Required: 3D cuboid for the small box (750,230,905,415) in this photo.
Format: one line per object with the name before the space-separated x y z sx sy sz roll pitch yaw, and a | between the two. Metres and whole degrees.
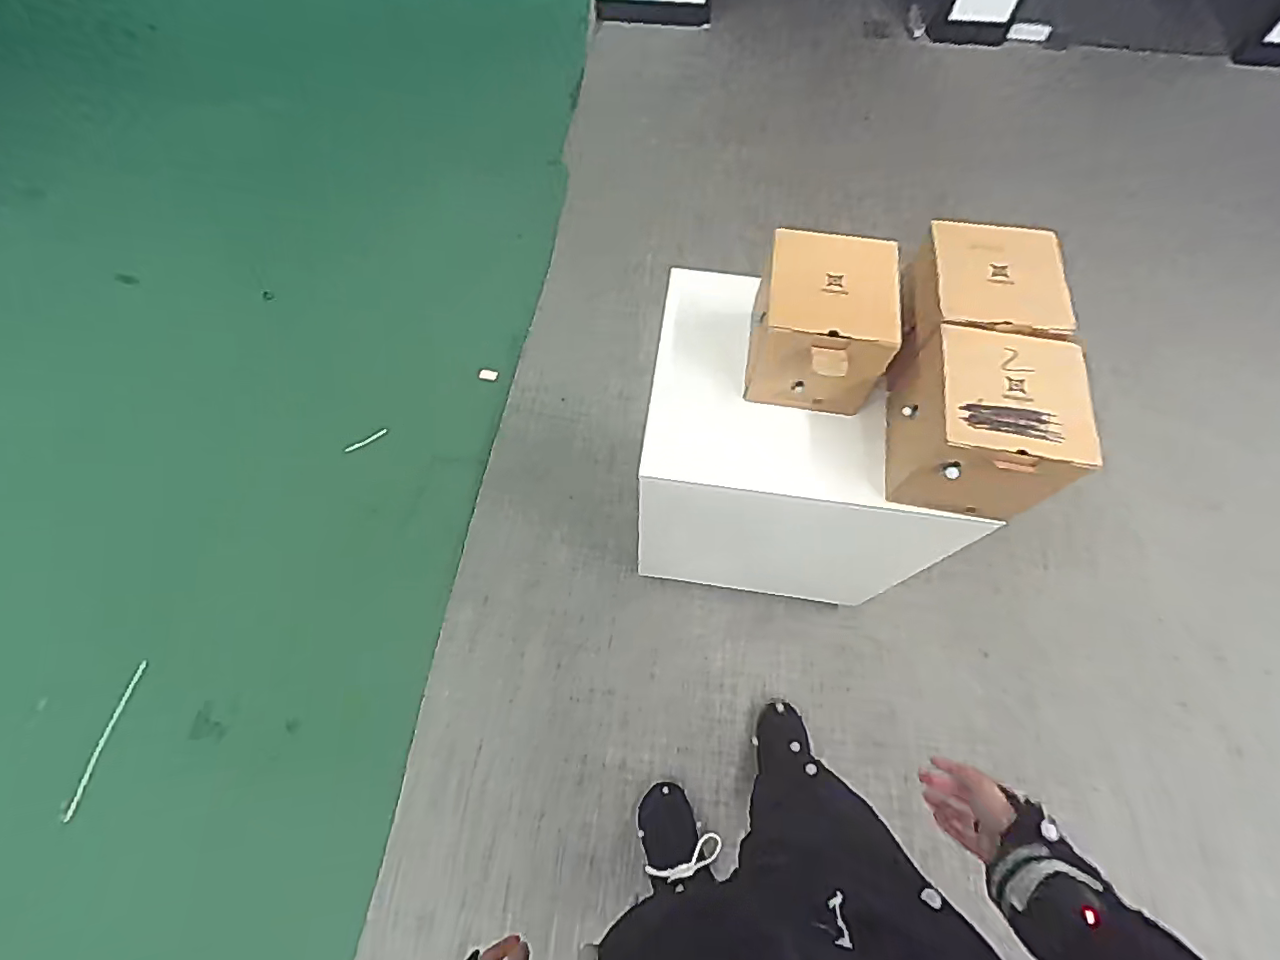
small box | 0.256 -0.218 0.770 0.168 0.176 0.179 8 66 4
